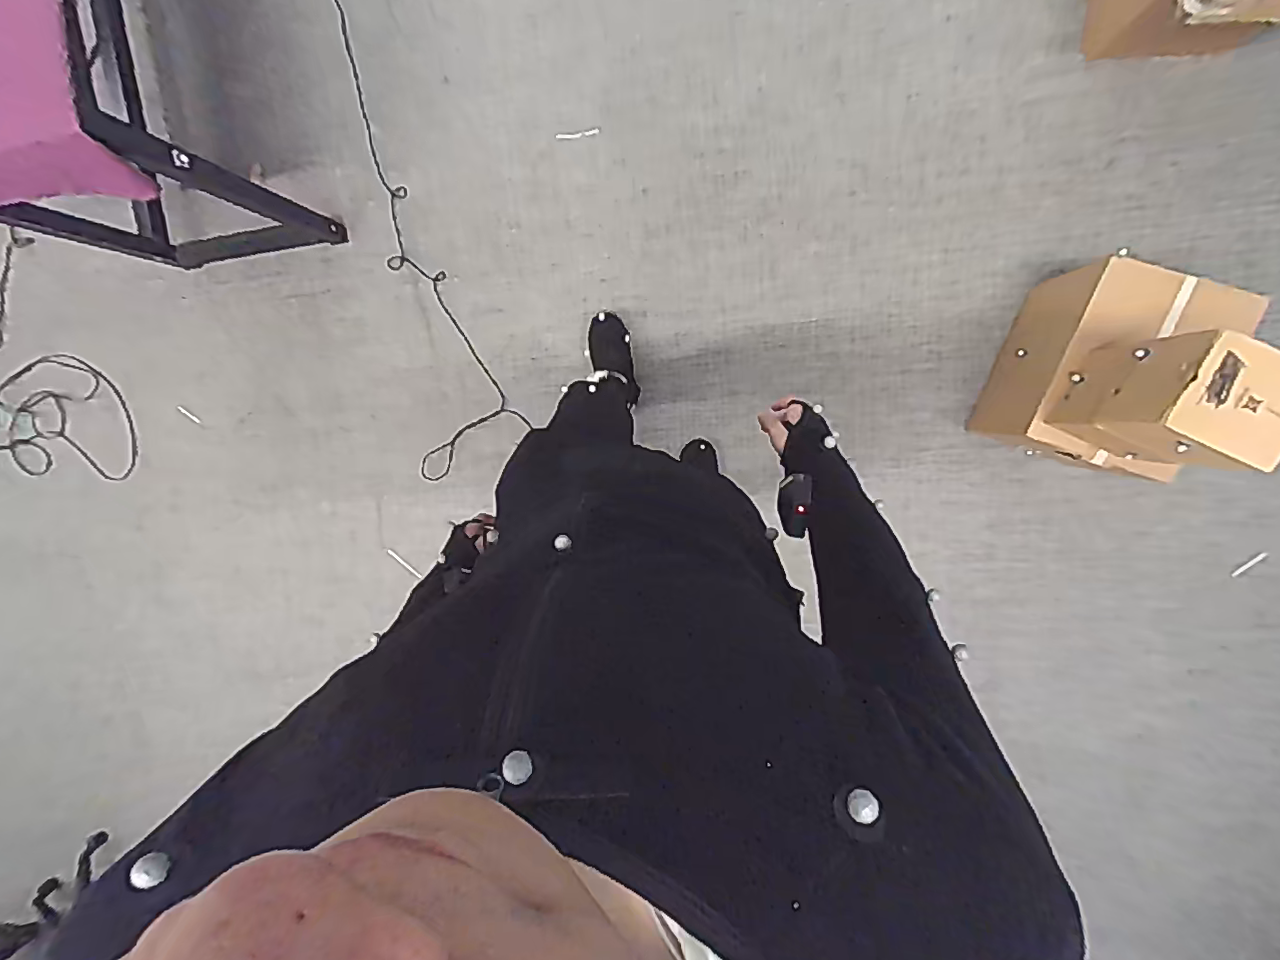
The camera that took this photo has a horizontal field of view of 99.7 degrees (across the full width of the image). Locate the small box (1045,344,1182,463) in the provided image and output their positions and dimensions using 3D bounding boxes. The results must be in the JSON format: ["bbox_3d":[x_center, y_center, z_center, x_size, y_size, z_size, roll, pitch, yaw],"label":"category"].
[{"bbox_3d":[0.965,-0.152,1.066,0.179,0.176,0.168,27,101,5],"label":"small box"}]

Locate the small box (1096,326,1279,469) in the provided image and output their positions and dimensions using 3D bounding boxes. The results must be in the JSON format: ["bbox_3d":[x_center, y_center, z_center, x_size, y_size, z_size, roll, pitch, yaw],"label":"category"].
[{"bbox_3d":[0.936,-0.134,0.906,0.179,0.176,0.168,27,101,4],"label":"small box"}]

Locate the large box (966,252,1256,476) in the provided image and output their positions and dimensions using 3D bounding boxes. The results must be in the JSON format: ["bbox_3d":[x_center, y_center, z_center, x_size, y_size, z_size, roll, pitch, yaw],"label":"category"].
[{"bbox_3d":[1.065,-0.258,1.285,0.320,0.320,0.408,20,100,4],"label":"large box"}]
